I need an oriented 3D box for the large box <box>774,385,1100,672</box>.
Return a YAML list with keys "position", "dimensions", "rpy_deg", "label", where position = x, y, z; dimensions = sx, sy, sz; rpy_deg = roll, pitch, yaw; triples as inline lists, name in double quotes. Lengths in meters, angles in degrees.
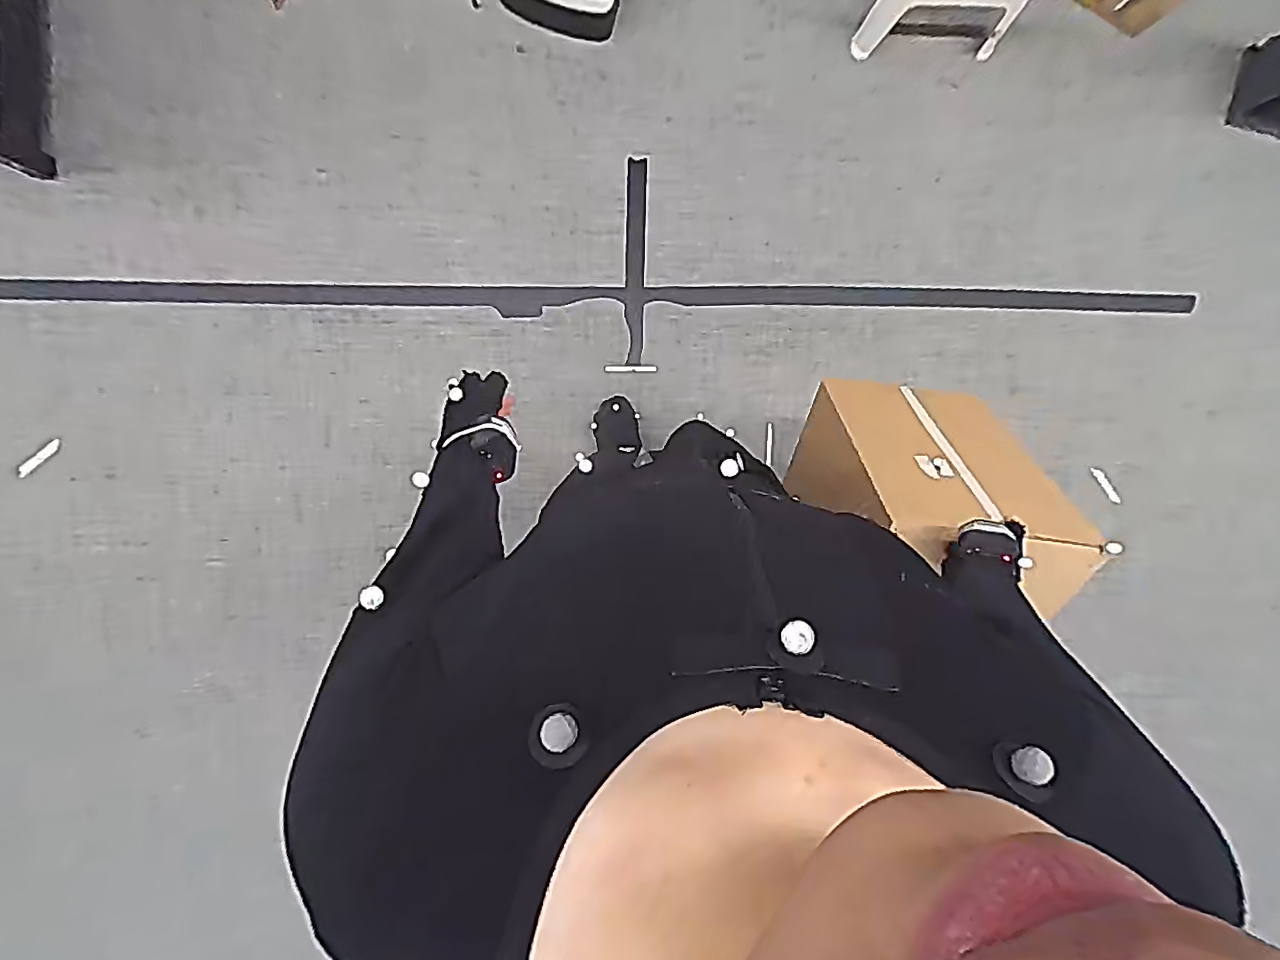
- position: [0.469, 0.077, 0.982]
  dimensions: [0.320, 0.408, 0.320]
  rpy_deg: [6, 129, -4]
  label: "large box"
